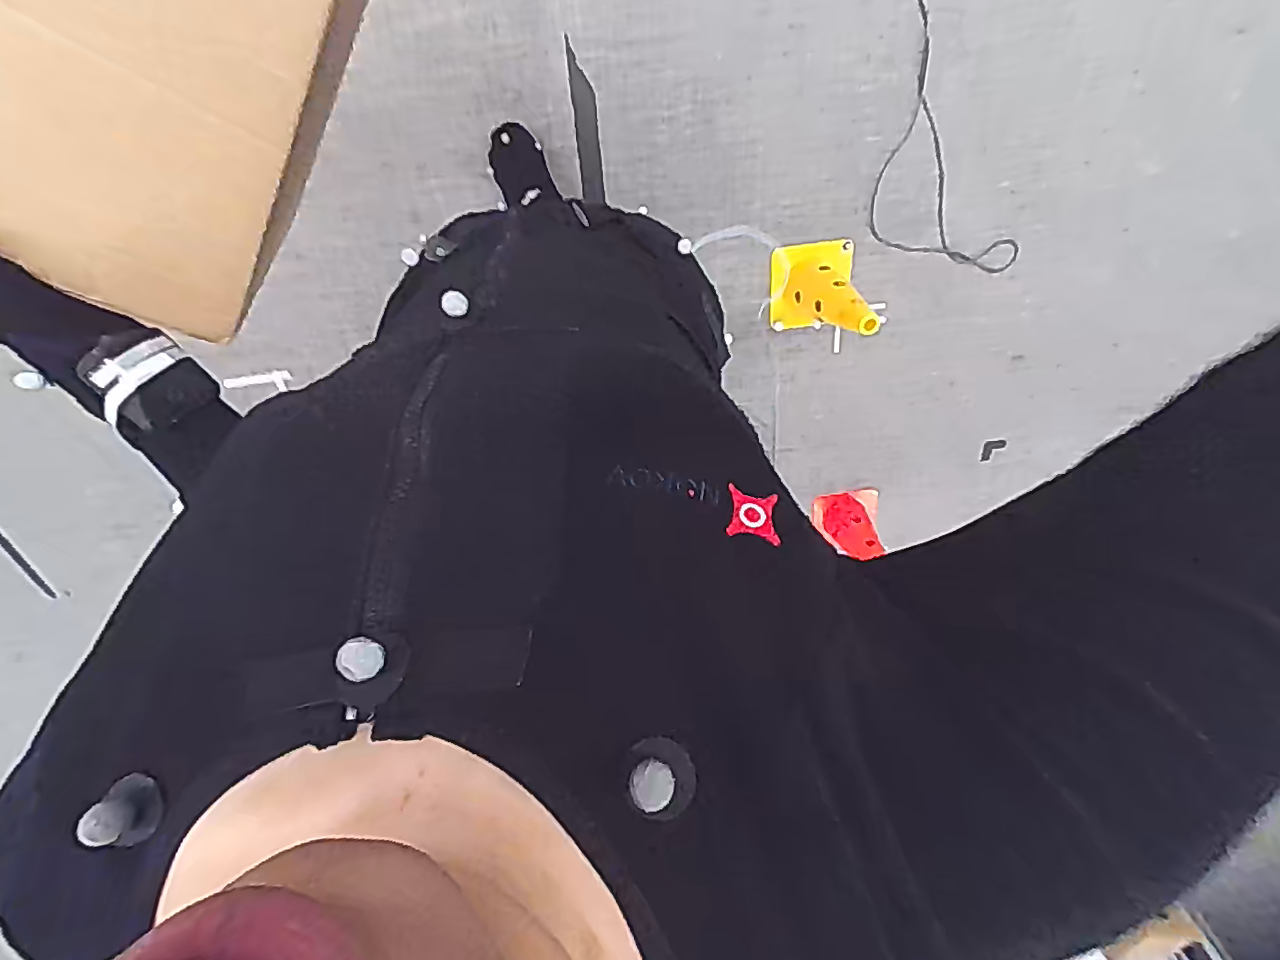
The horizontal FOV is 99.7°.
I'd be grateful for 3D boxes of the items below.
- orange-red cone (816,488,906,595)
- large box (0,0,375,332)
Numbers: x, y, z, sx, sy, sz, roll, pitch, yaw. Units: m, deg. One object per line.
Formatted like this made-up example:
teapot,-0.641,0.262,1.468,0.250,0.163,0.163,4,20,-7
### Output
orange-red cone,0.674,0.203,1.583,0.198,0.360,0.199,-9,120,0
large box,-0.378,-0.396,0.380,0.320,0.320,0.408,20,121,-35
